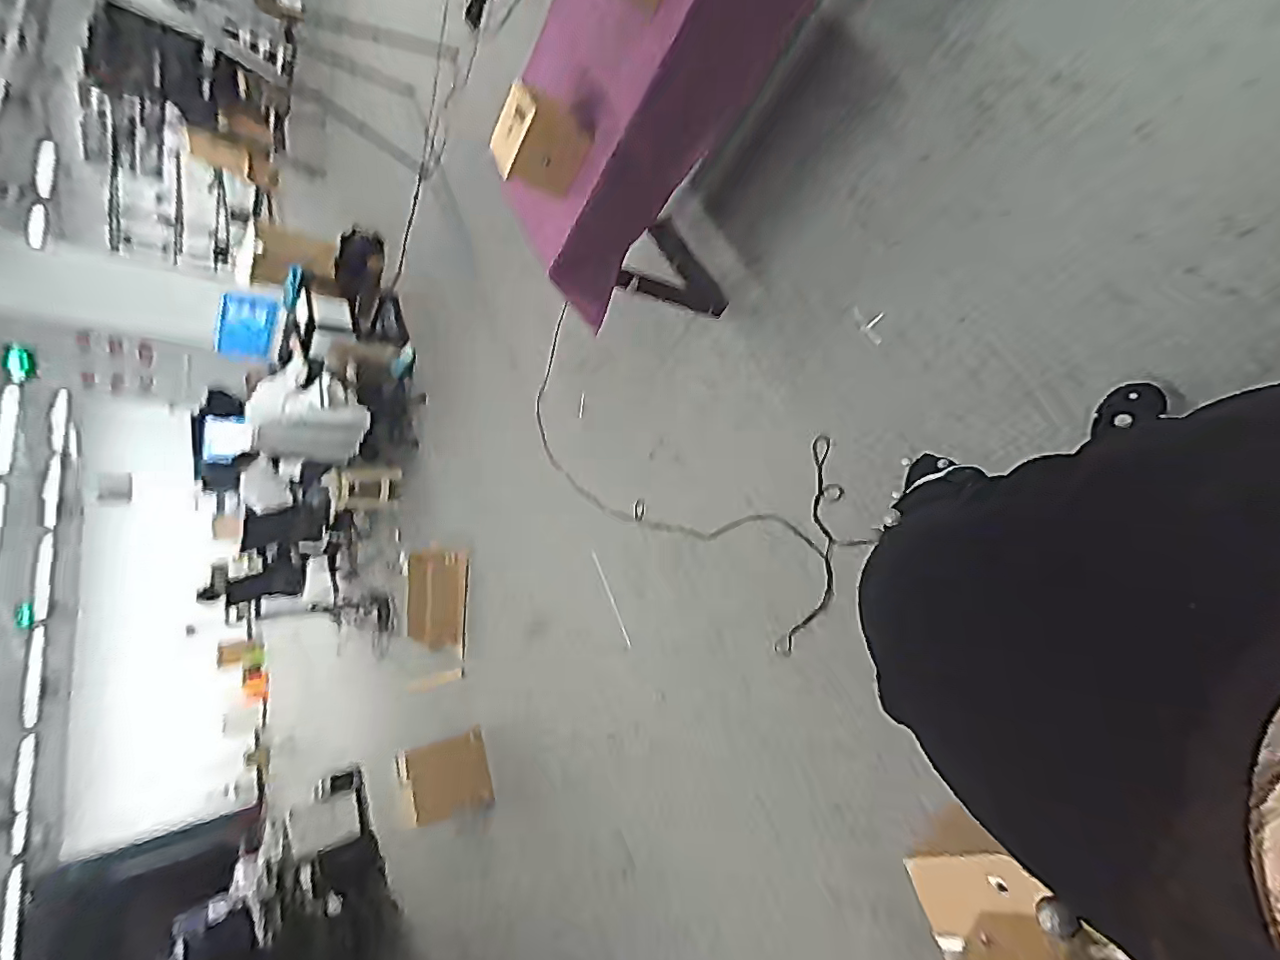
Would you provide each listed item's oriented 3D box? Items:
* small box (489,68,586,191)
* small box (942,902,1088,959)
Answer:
[{"bbox_3d":[-0.257,-0.890,1.387,0.179,0.176,0.168,-46,57,37],"label":"small box"},{"bbox_3d":[0.687,0.893,0.964,0.179,0.176,0.168,-34,69,41],"label":"small box"}]
